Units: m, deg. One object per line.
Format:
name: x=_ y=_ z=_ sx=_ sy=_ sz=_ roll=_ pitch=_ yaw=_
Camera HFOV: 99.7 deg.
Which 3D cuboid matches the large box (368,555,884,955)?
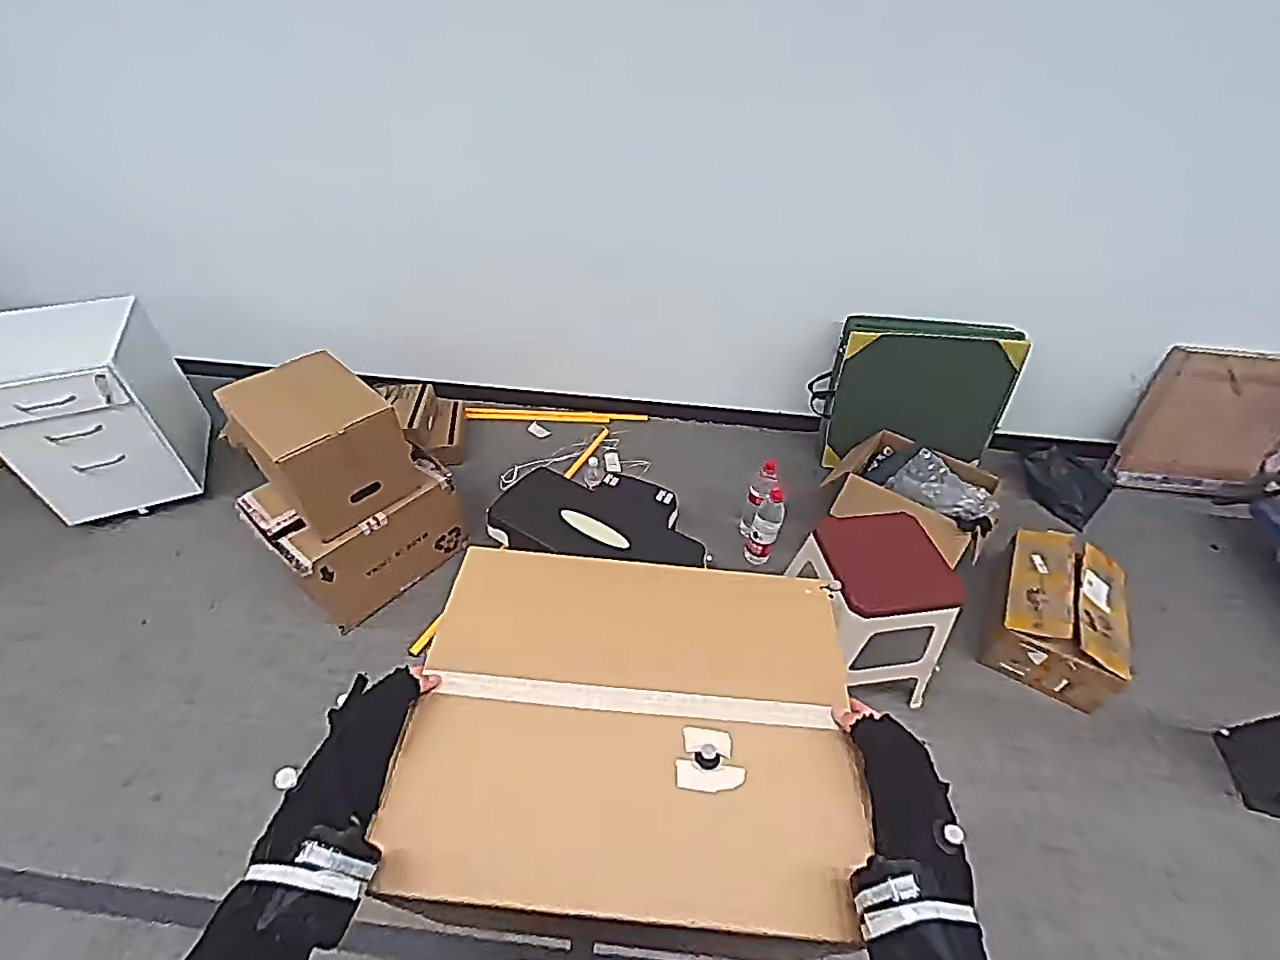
large box: x=-0.011 y=0.313 z=0.616 sx=0.408 sy=0.320 sz=0.320 roll=6 pitch=47 yaw=1
